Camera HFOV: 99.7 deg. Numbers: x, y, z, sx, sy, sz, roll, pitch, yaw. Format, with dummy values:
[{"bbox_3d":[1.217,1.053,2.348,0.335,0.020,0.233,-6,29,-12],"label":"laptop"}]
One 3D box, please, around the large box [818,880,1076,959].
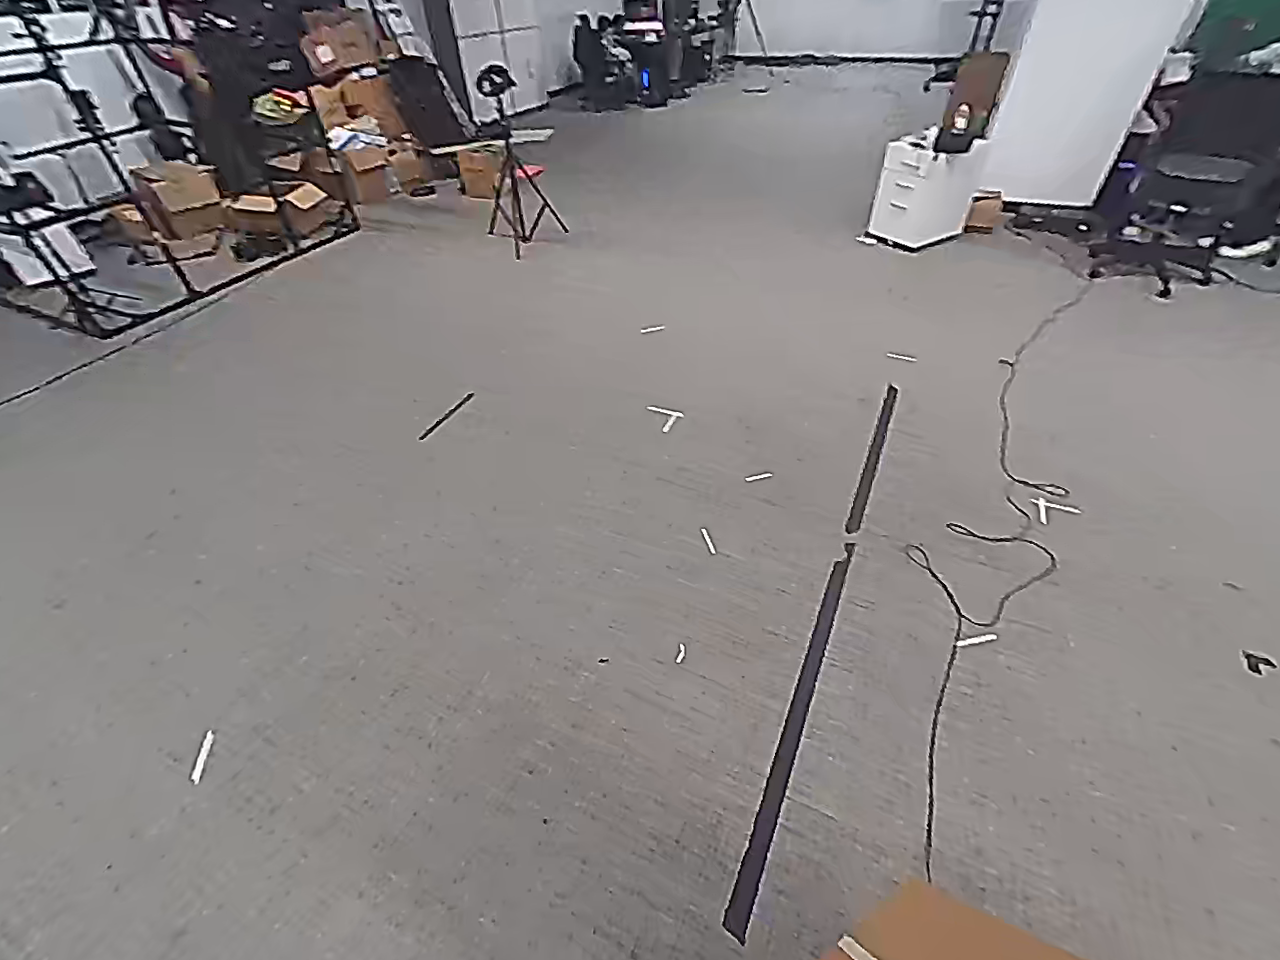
[{"bbox_3d":[0.419,0.762,0.612,0.320,0.408,0.320,-27,75,-17],"label":"large box"}]
